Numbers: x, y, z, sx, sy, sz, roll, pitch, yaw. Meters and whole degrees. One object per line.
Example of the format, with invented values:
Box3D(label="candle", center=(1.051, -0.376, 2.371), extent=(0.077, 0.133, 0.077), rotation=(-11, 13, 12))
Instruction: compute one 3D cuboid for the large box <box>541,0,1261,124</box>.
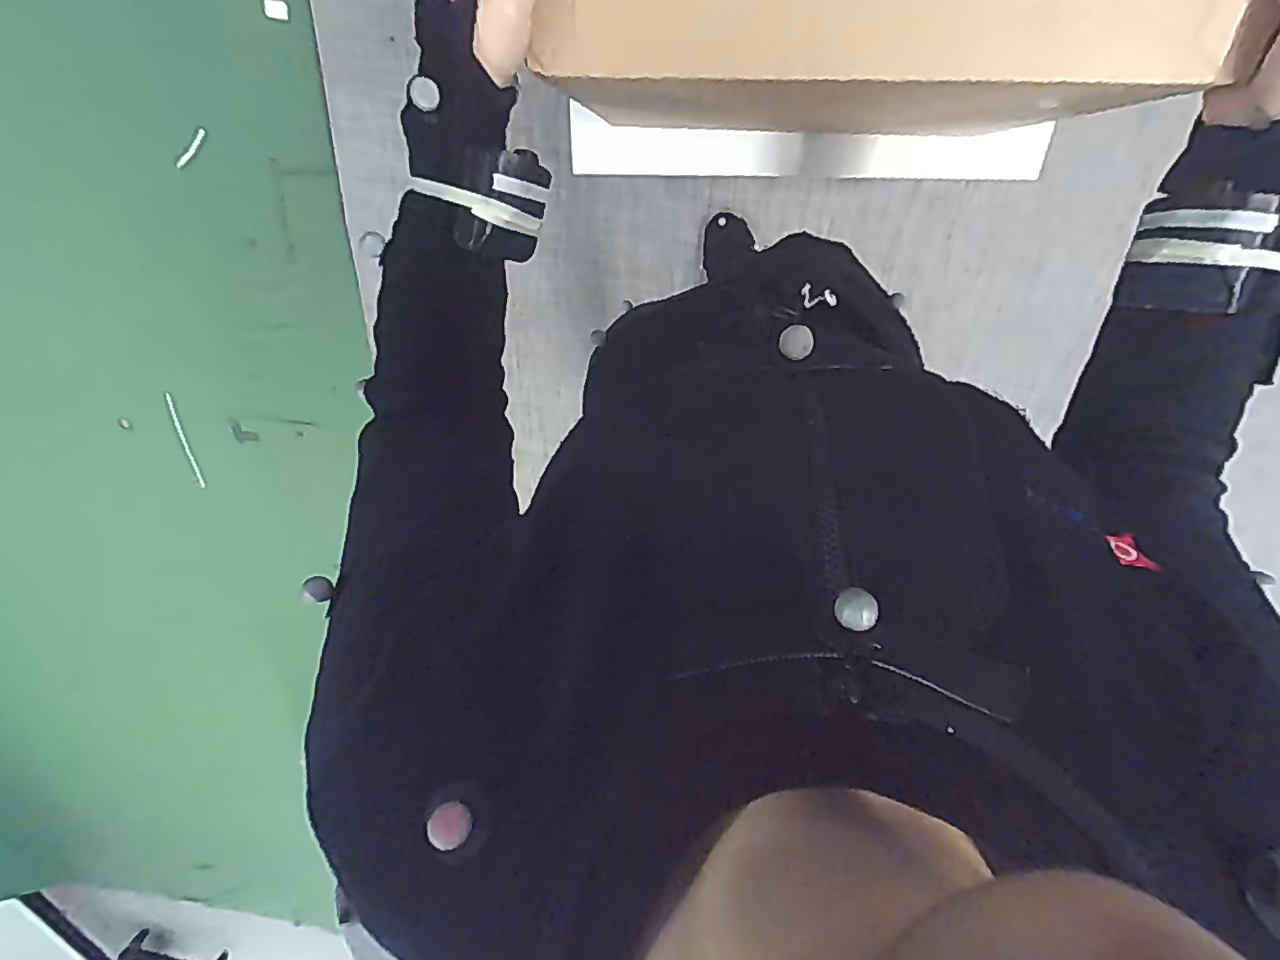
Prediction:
Box3D(label="large box", center=(0.150, -0.450, 0.377), extent=(0.408, 0.320, 0.320), rotation=(3, 119, 4))
